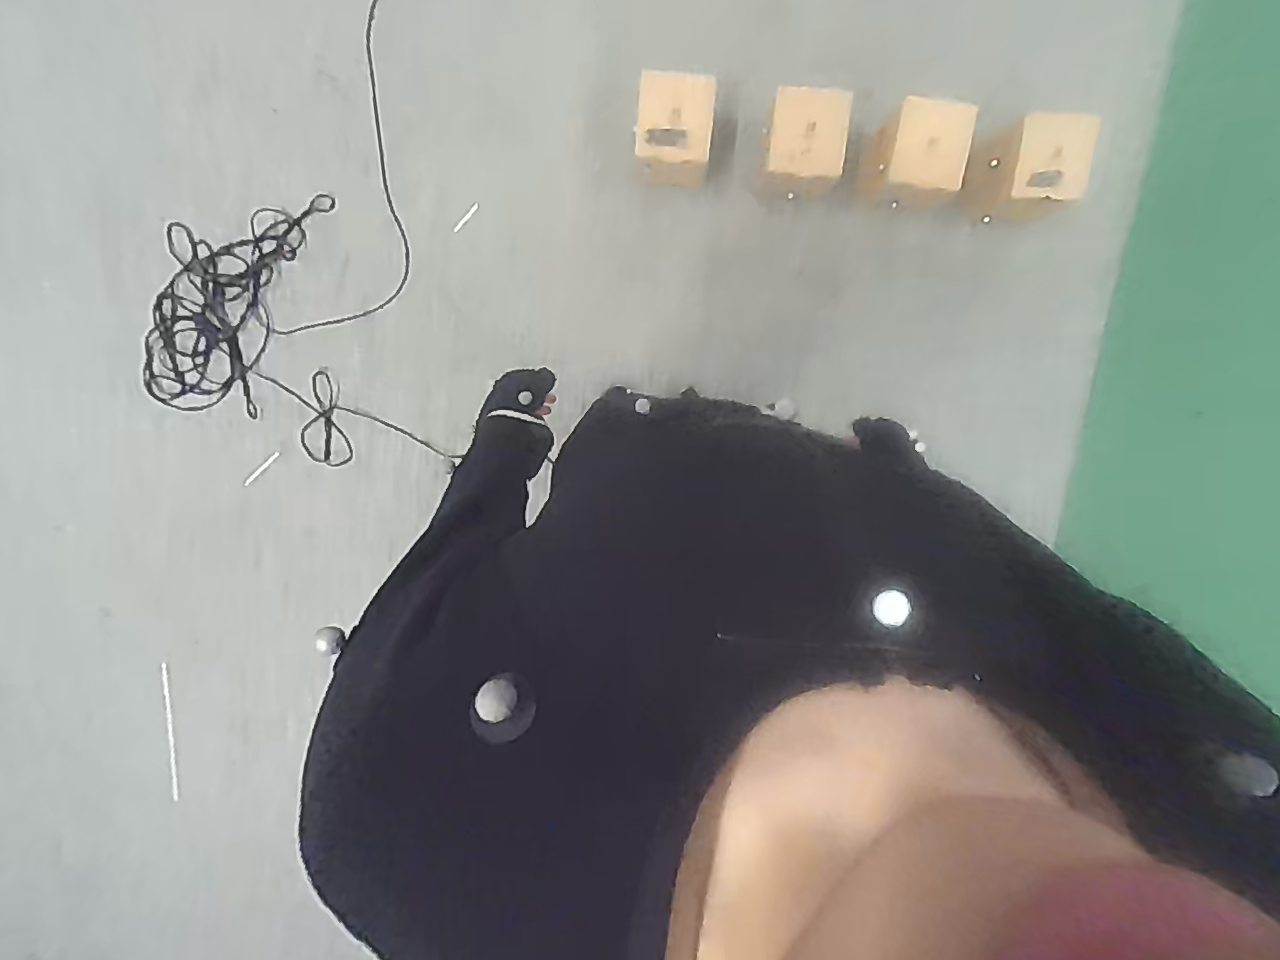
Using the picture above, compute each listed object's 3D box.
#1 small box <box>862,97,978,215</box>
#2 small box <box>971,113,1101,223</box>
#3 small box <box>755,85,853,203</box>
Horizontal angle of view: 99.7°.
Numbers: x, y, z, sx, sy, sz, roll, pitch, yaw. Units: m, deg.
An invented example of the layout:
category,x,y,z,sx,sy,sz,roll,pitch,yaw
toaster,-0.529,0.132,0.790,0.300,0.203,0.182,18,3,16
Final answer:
category,x,y,z,sx,sy,sz,roll,pitch,yaw
small box,0.637,-0.741,1.253,0.168,0.176,0.179,7,101,-1
small box,0.904,-0.713,1.254,0.168,0.176,0.179,4,100,0
small box,0.370,-0.768,1.250,0.168,0.176,0.179,6,101,1
